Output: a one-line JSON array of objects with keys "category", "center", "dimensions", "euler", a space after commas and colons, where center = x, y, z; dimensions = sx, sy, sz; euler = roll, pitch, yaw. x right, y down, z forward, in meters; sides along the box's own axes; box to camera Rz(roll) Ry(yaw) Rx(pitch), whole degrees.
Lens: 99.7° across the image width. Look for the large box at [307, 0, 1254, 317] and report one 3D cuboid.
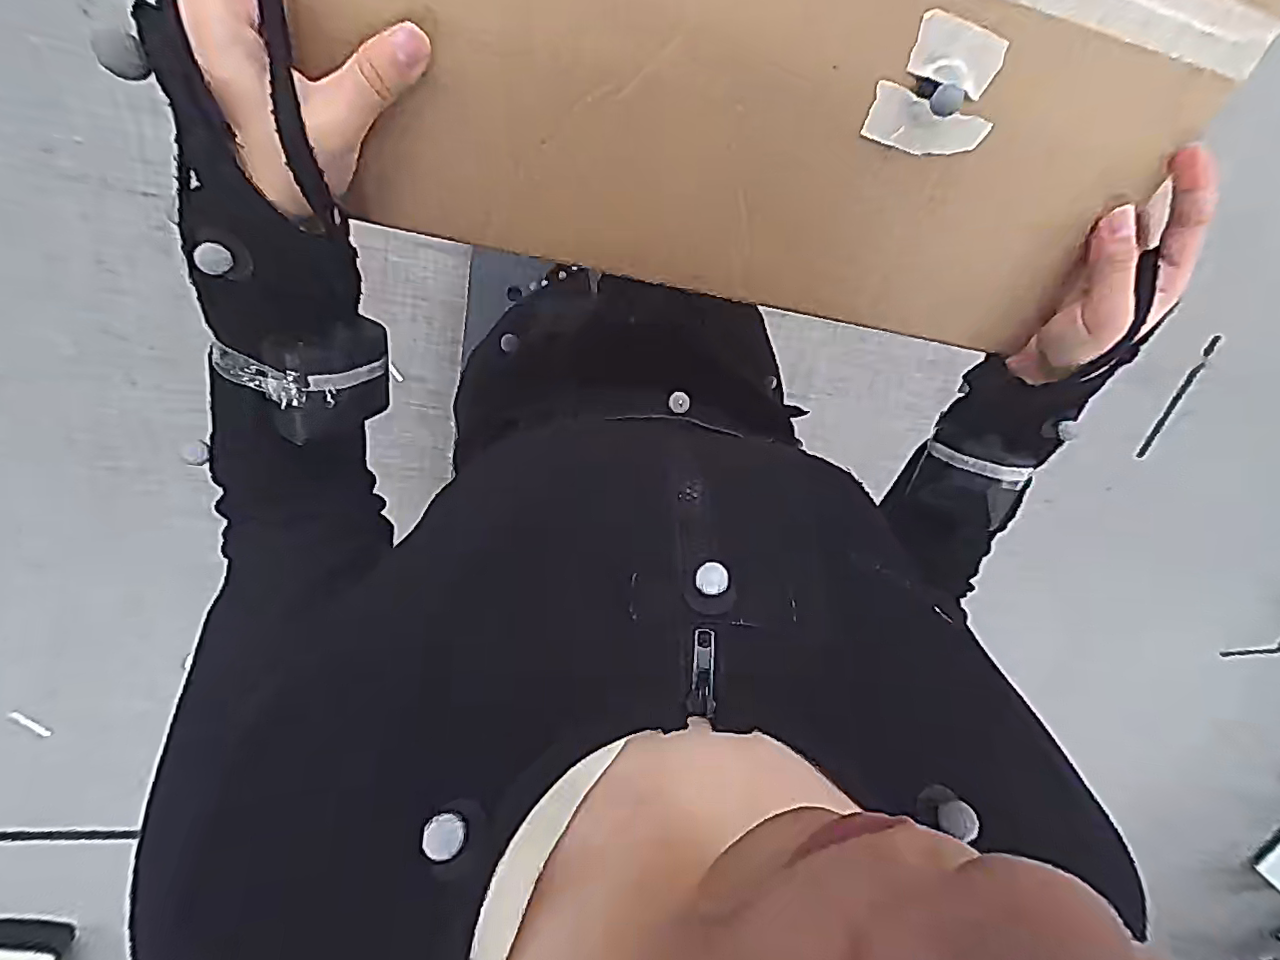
[{"category": "large box", "center": [0.064, -0.334, 0.310], "dimensions": [0.408, 0.320, 0.320], "euler": [7, 134, -12]}]
